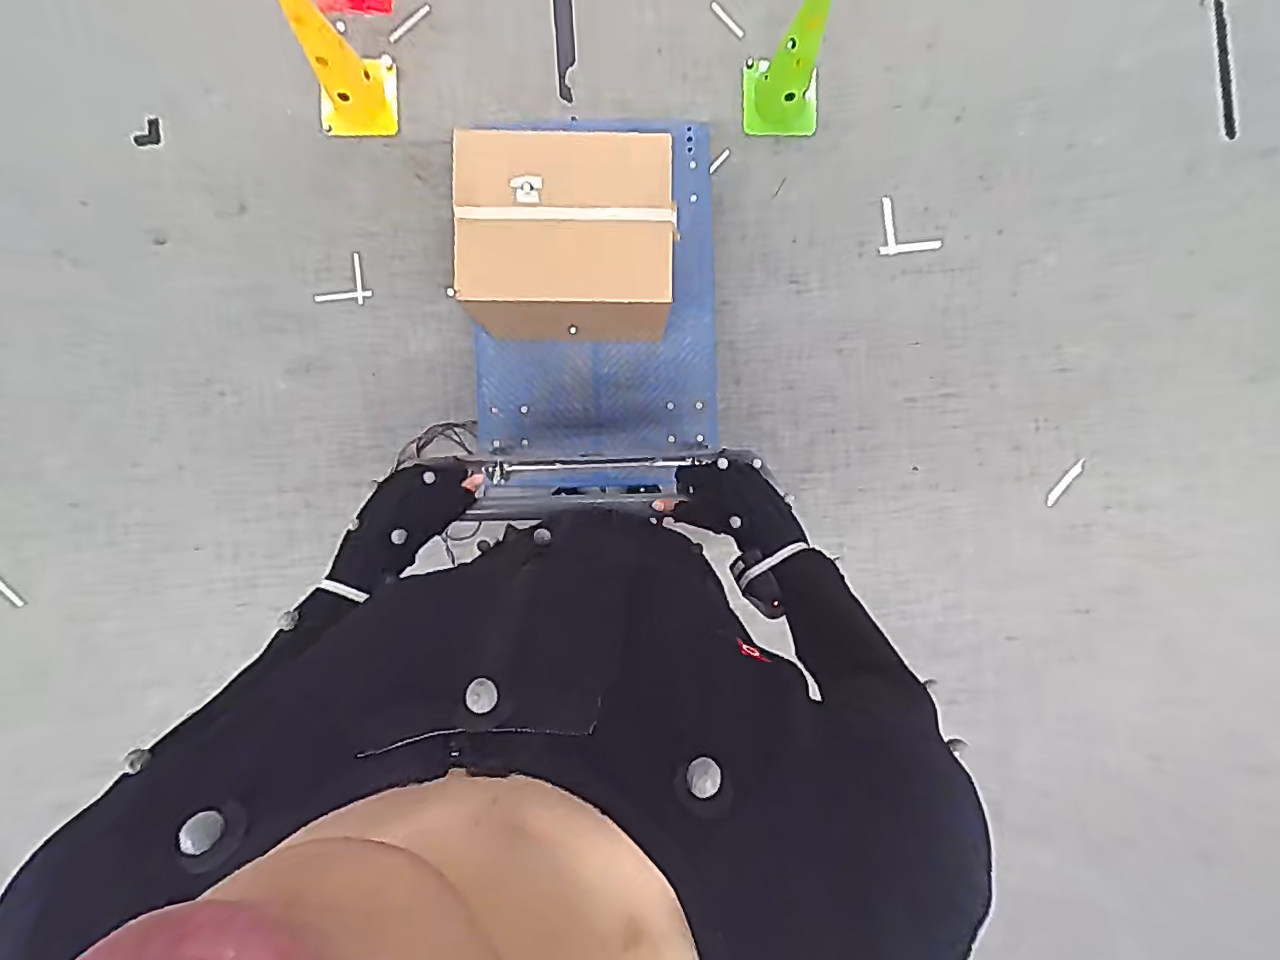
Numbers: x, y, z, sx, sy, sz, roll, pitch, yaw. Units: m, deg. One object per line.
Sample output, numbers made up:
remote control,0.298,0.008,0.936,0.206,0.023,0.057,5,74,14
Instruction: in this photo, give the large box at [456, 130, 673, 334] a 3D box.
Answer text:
large box,-0.138,-0.497,1.151,0.408,0.320,0.320,0,91,0

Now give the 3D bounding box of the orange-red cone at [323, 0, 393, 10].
orange-red cone,-0.747,-1.362,1.271,0.198,0.360,0.199,3,90,-2

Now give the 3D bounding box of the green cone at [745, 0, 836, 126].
green cone,0.392,-1.059,1.297,0.202,0.368,0.200,-1,91,-2
